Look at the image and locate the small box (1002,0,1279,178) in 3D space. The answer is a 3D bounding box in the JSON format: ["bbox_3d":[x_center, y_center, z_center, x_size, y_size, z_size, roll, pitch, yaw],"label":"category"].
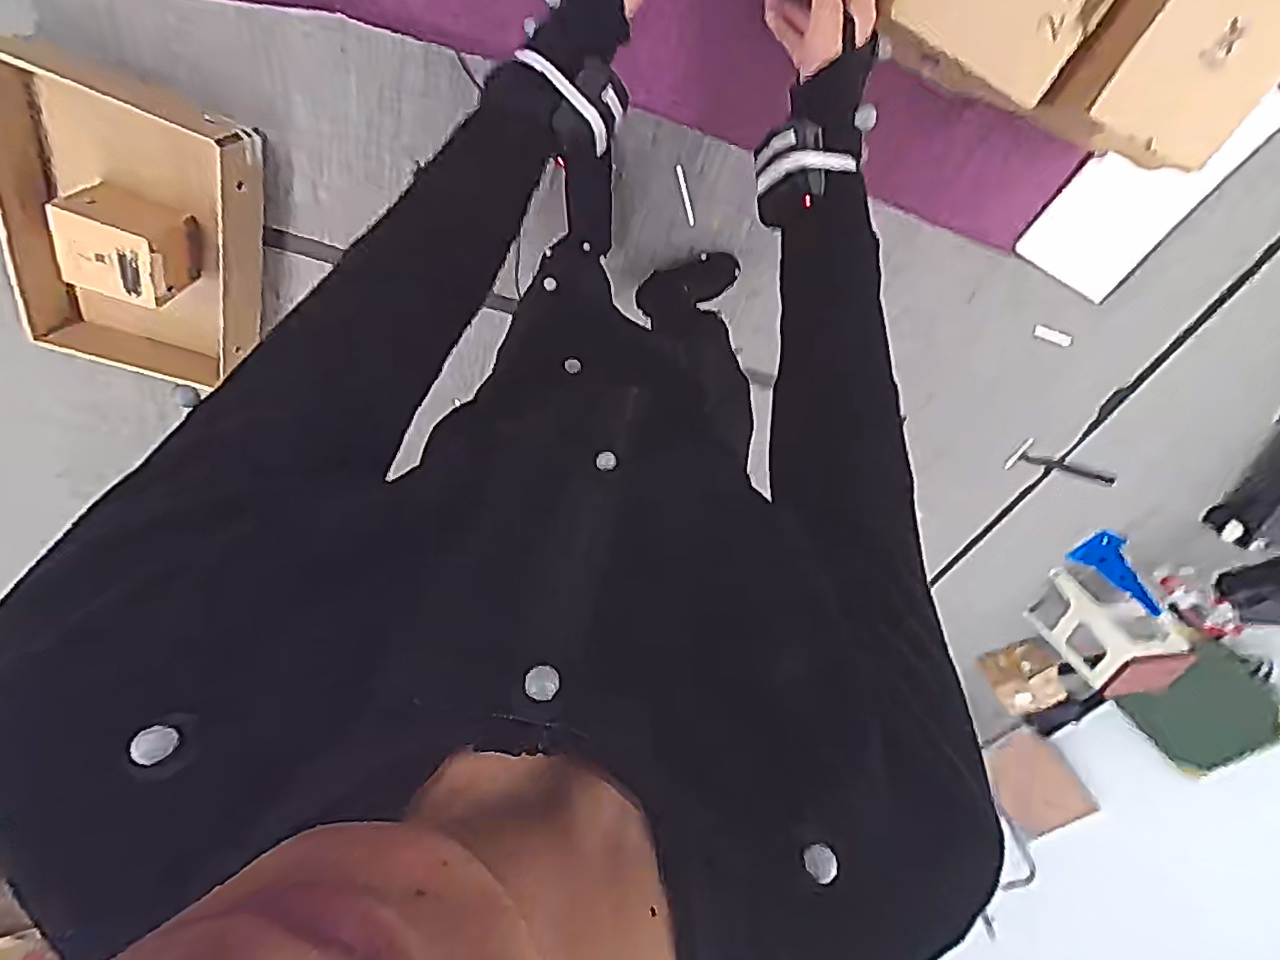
[{"bbox_3d":[0.511,-0.441,0.541,0.168,0.176,0.179,12,127,-17],"label":"small box"}]
